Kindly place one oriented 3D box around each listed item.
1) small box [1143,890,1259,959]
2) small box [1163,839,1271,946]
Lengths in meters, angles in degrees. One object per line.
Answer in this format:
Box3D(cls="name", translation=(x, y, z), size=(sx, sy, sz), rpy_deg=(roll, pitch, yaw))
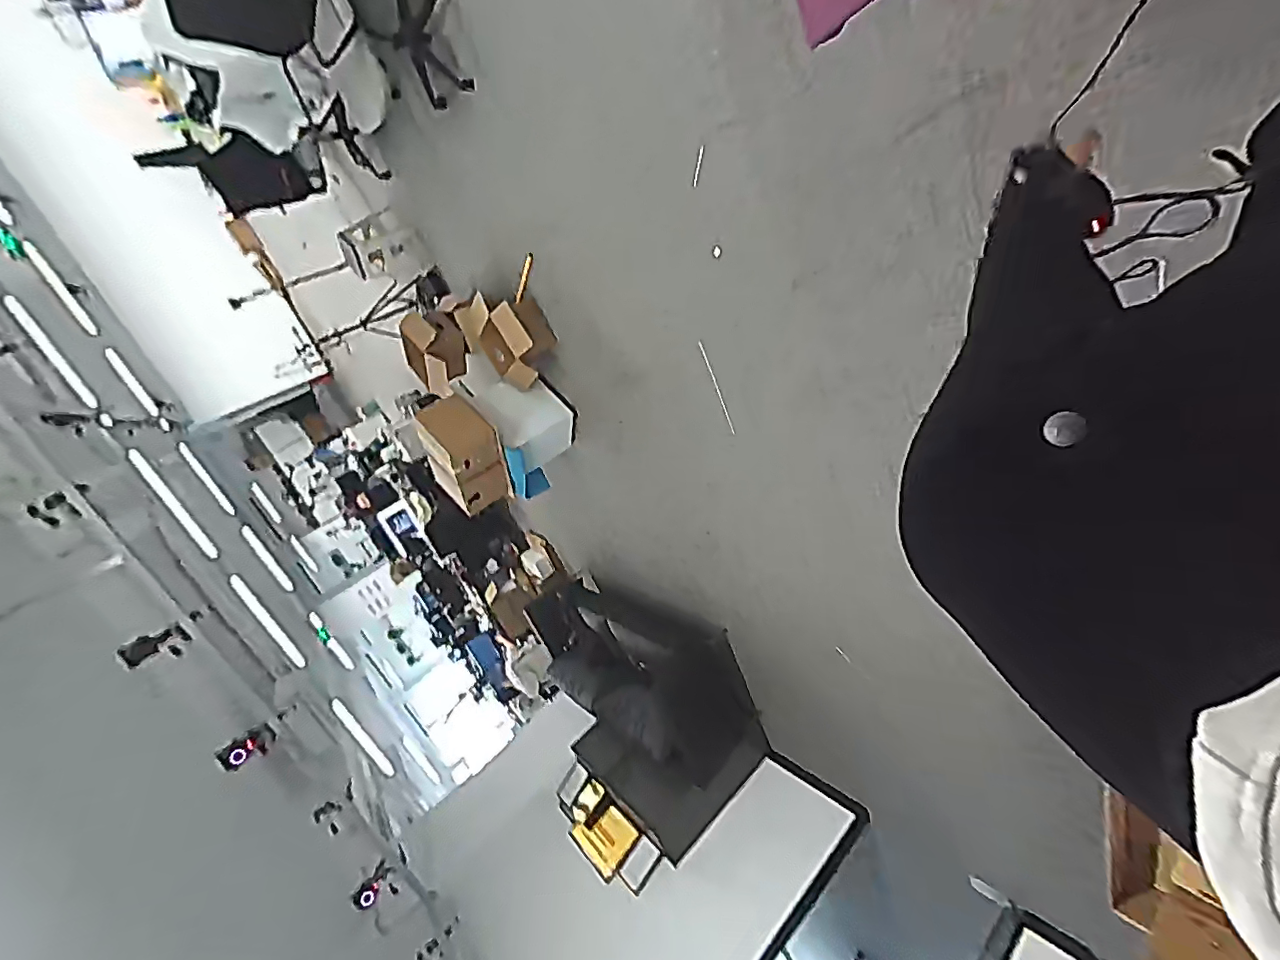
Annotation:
Box3D(cls="small box", translation=(1.331, 1.146, 1.286), size=(0.168, 0.176, 0.179), rpy_deg=(11, 128, 54))
Box3D(cls="small box", translation=(1.450, 1.068, 1.364), size=(0.168, 0.176, 0.179), rpy_deg=(11, 128, 52))
